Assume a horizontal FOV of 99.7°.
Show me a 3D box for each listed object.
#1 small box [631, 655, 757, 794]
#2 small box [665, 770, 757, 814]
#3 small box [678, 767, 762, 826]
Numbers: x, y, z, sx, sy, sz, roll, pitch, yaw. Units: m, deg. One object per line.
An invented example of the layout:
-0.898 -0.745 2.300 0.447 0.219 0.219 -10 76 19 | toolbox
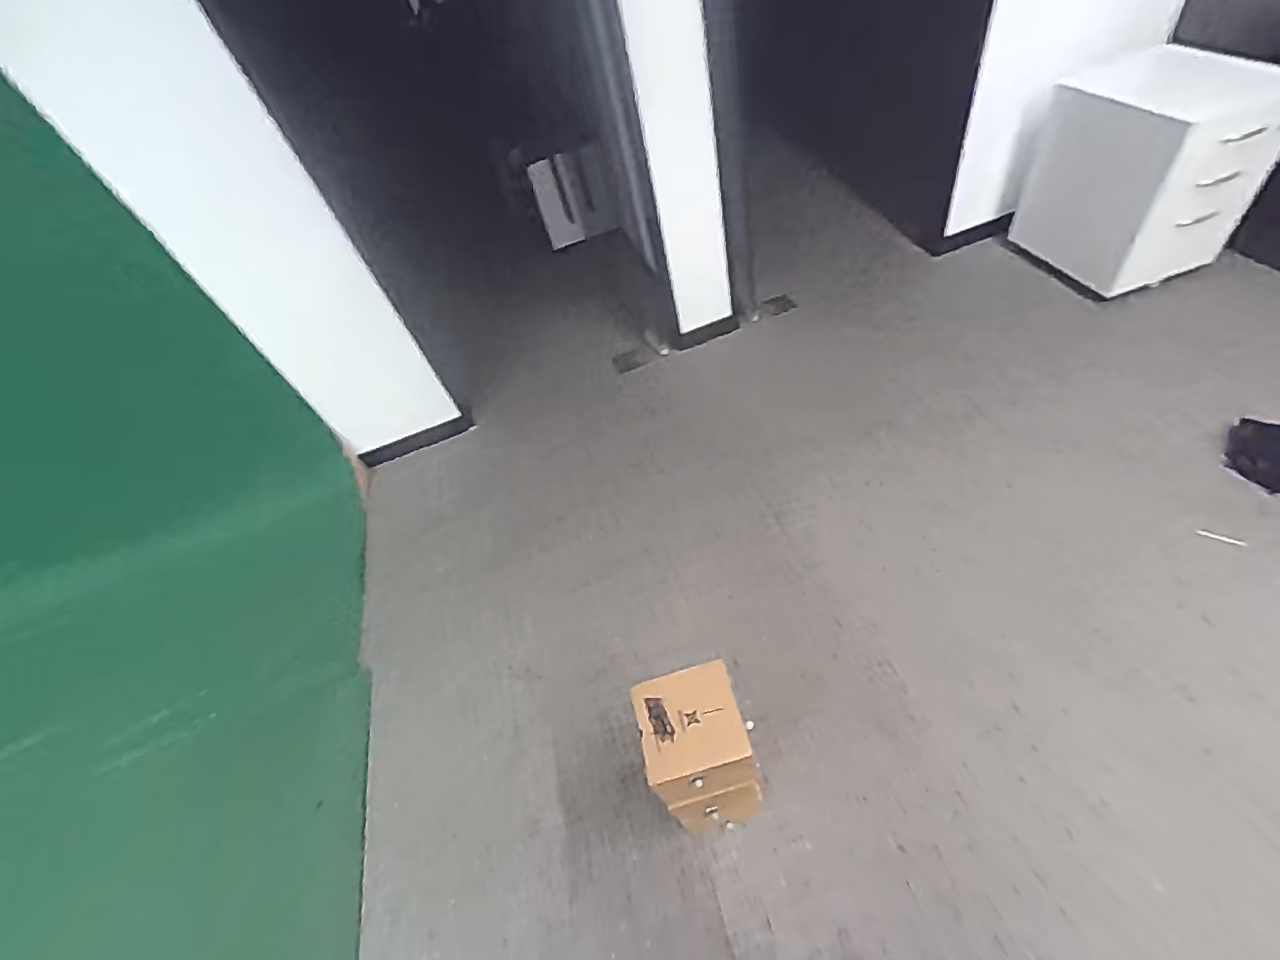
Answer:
0.099 0.446 0.976 0.179 0.176 0.168 -17 49 2 | small box
0.129 0.552 1.099 0.168 0.176 0.179 -19 49 2 | small box
0.166 0.657 1.217 0.179 0.176 0.168 -17 48 2 | small box
